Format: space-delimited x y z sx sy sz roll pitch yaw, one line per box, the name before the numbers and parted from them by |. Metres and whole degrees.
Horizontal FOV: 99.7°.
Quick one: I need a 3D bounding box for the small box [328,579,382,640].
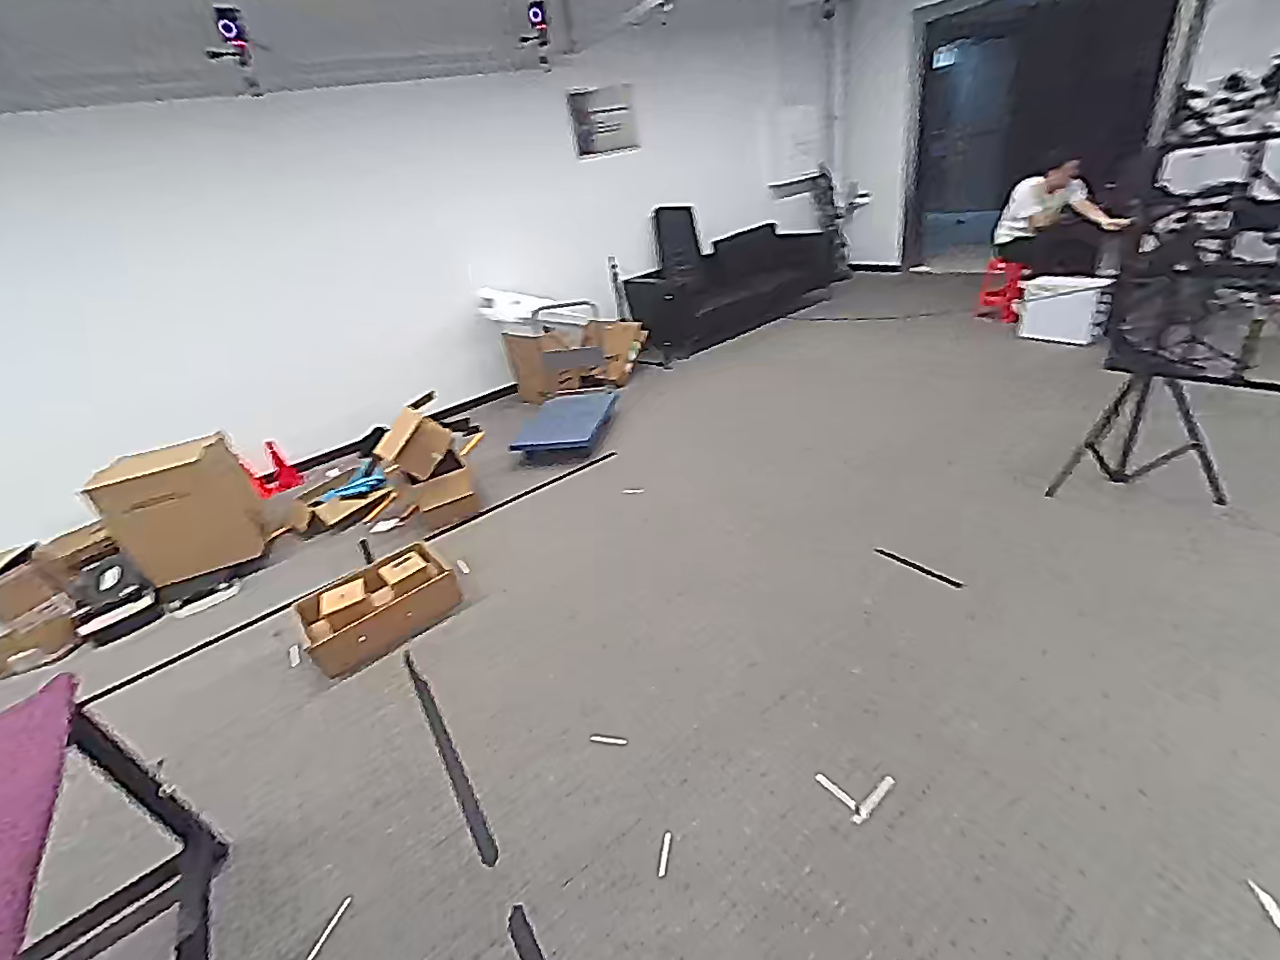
small box | -1.266 0.575 2.401 0.168 0.176 0.179 -22 30 -21
